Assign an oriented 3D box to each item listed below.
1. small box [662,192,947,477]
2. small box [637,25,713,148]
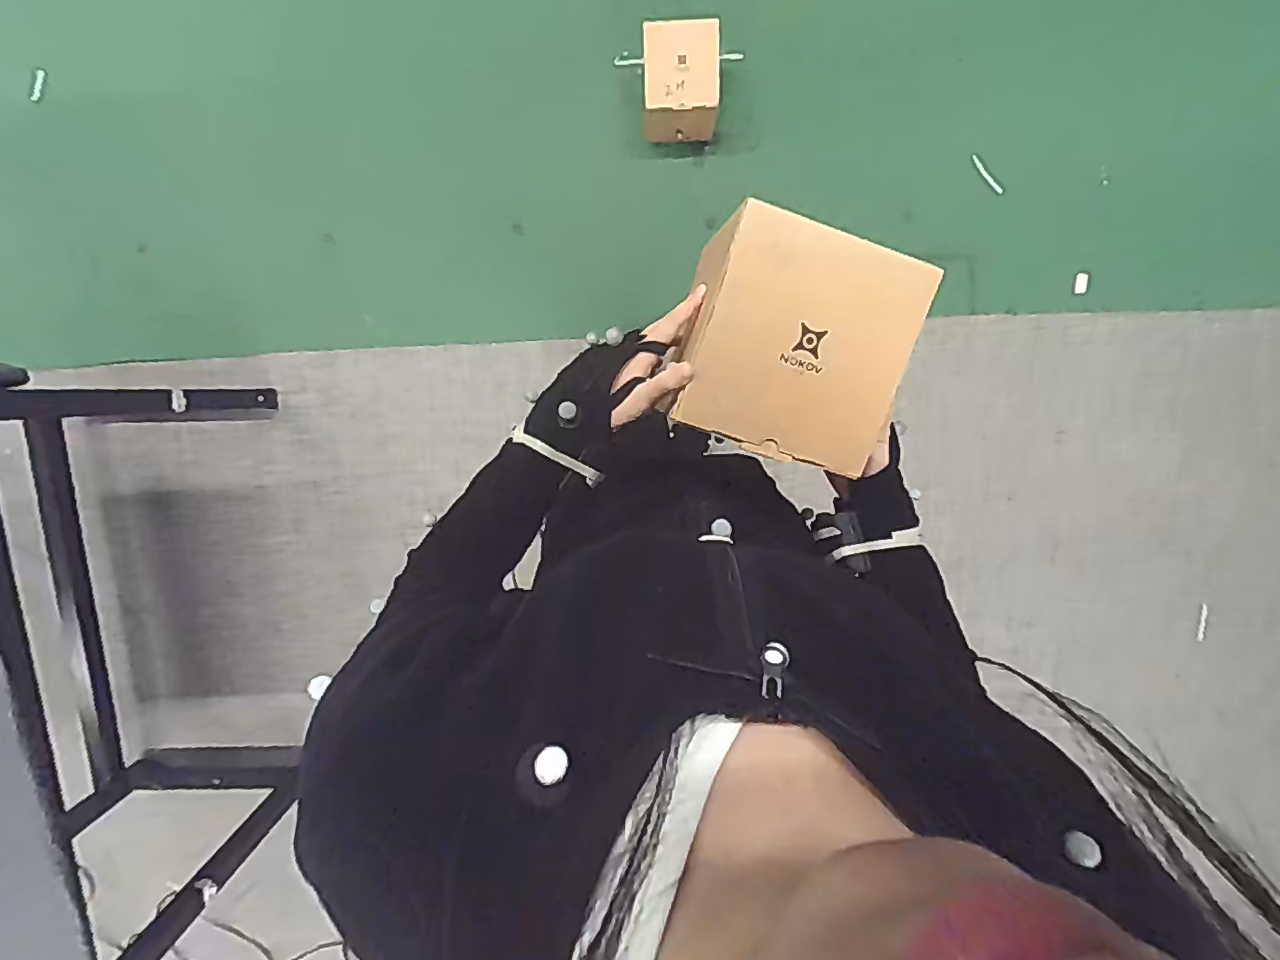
[{"bbox_3d":[0.127,-0.121,0.493,0.168,0.176,0.179,16,100,-8],"label":"small box"},{"bbox_3d":[0.077,-0.907,1.259,0.168,0.176,0.179,-2,99,1],"label":"small box"}]
